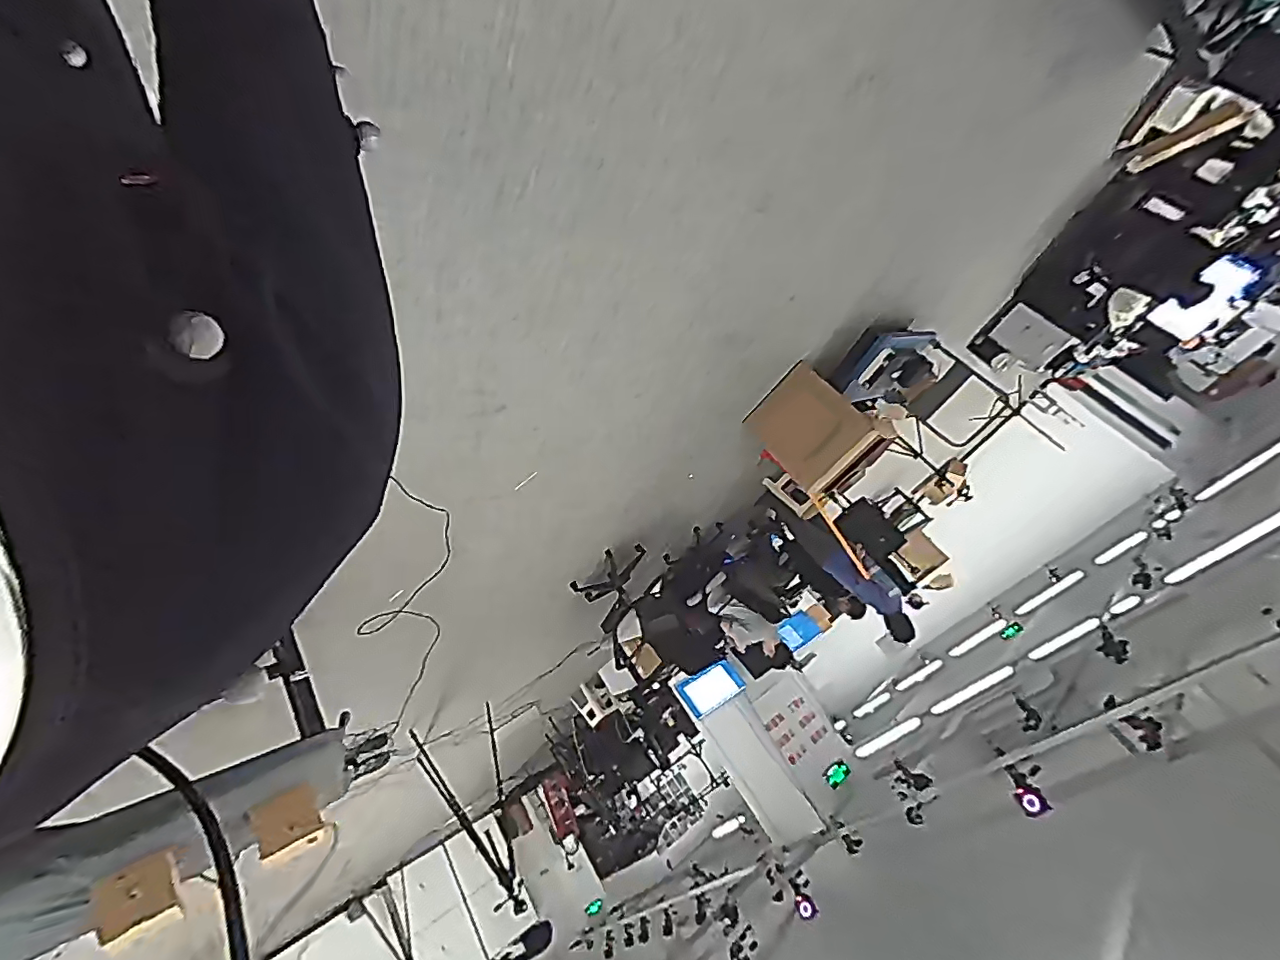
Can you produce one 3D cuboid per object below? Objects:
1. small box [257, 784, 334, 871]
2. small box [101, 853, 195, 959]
[{"bbox_3d":[-1.146,1.153,1.802,0.179,0.176,0.168,-17,147,-36],"label":"small box"},{"bbox_3d":[-1.420,1.223,1.563,0.168,0.176,0.179,-15,145,-40],"label":"small box"}]
